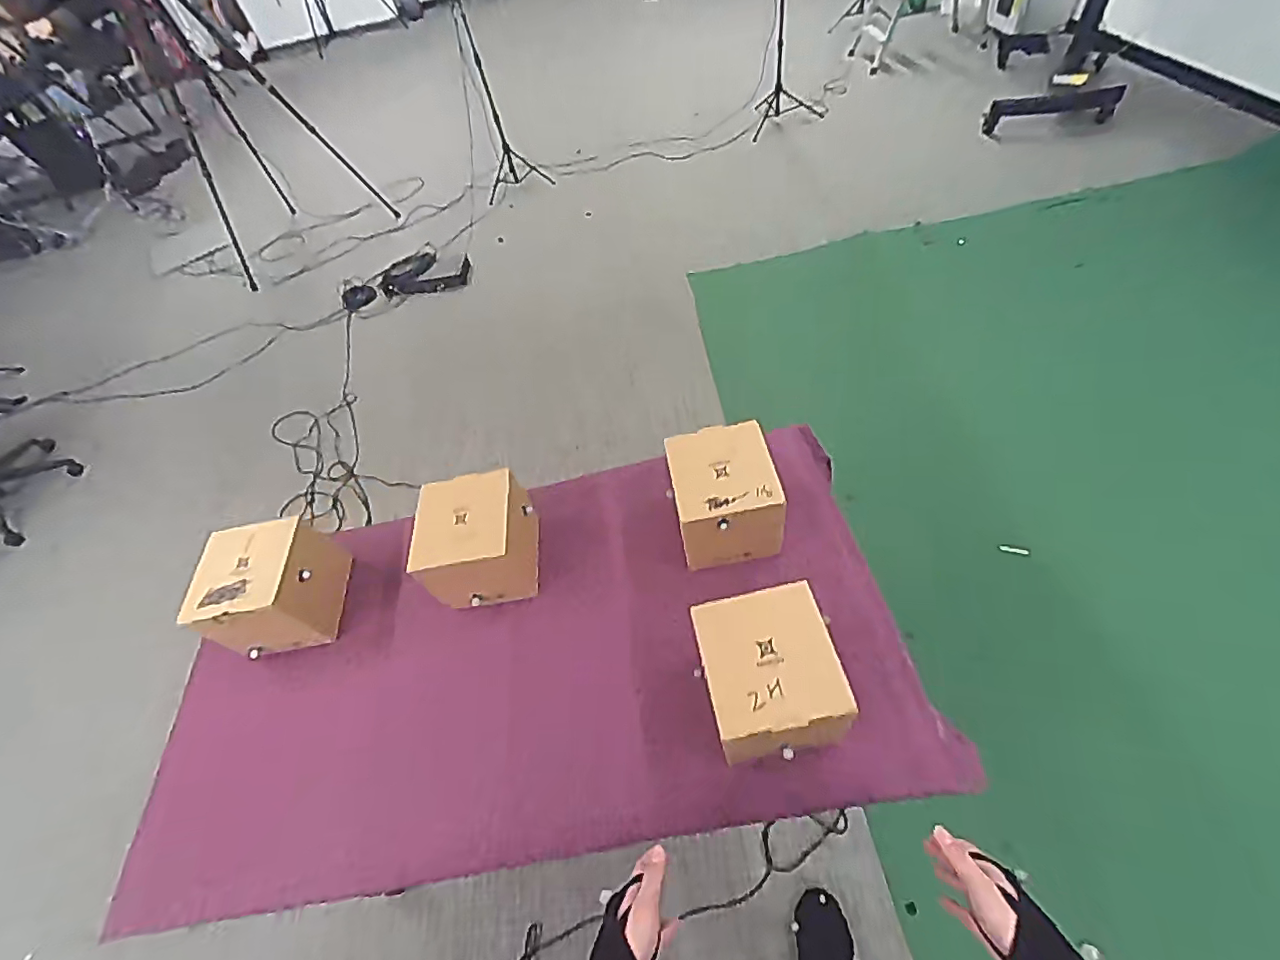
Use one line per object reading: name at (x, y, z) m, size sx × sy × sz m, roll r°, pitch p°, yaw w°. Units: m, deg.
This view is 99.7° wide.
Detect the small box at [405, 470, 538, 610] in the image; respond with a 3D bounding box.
small box at (-0.284, 0.109, 0.953) m, size 0.168 × 0.176 × 0.179 m, roll -10°, pitch 55°, yaw 4°

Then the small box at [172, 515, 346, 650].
small box at (-0.653, 0.188, 0.954) m, size 0.168 × 0.176 × 0.179 m, roll -10°, pitch 54°, yaw 2°

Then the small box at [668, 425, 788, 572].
small box at (0.146, 0.035, 0.930) m, size 0.168 × 0.176 × 0.179 m, roll -11°, pitch 54°, yaw 3°

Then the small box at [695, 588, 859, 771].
small box at (0.177, 0.278, 0.745) m, size 0.168 × 0.176 × 0.179 m, roll -13°, pitch 52°, yaw 3°
